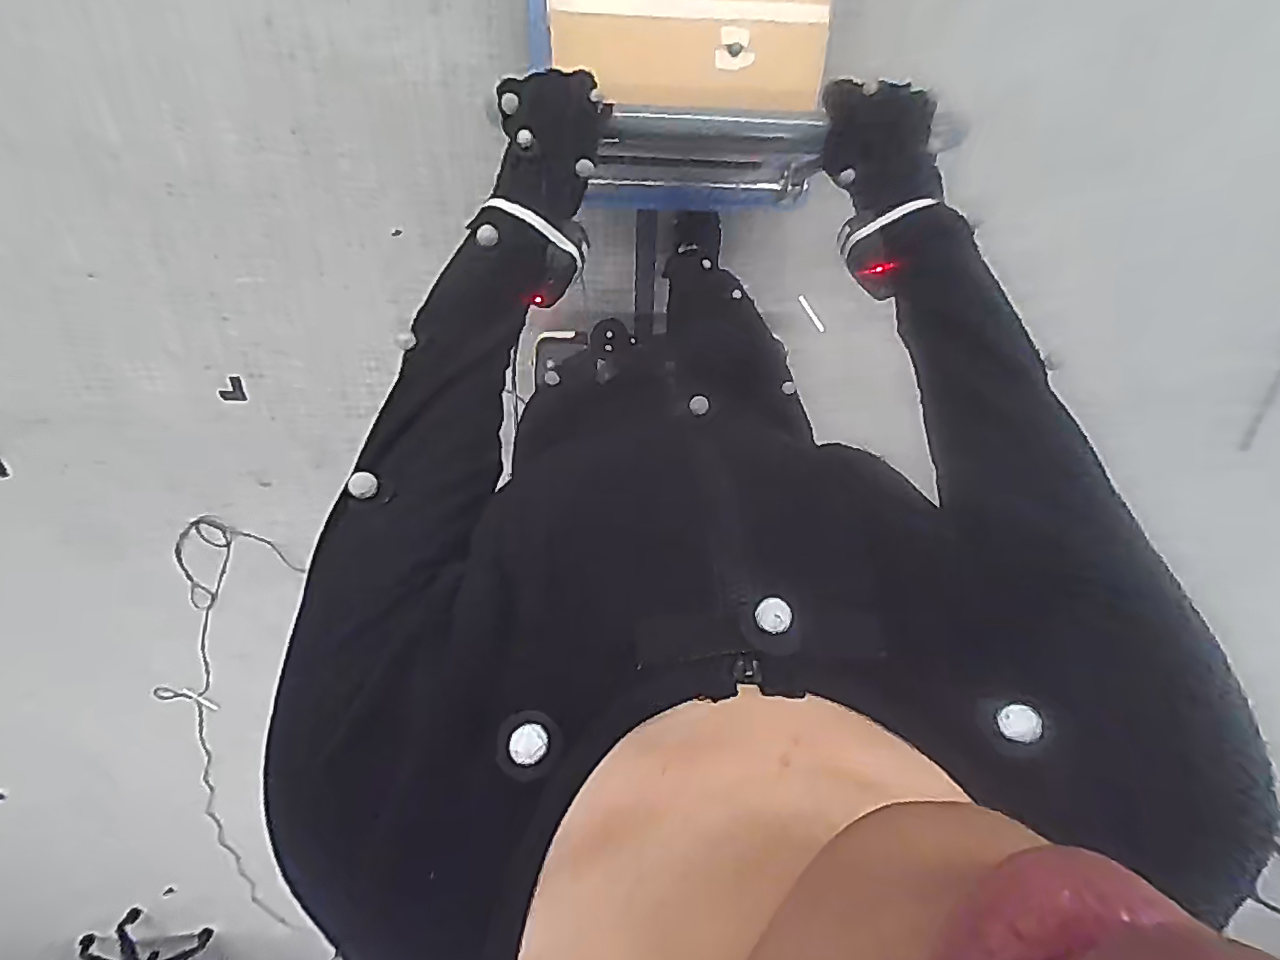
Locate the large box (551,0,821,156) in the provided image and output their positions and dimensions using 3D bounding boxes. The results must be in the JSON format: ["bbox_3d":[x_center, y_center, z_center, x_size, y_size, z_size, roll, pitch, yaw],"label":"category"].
[{"bbox_3d":[0.060,-0.752,0.923,0.408,0.320,0.320,0,116,-3],"label":"large box"}]
